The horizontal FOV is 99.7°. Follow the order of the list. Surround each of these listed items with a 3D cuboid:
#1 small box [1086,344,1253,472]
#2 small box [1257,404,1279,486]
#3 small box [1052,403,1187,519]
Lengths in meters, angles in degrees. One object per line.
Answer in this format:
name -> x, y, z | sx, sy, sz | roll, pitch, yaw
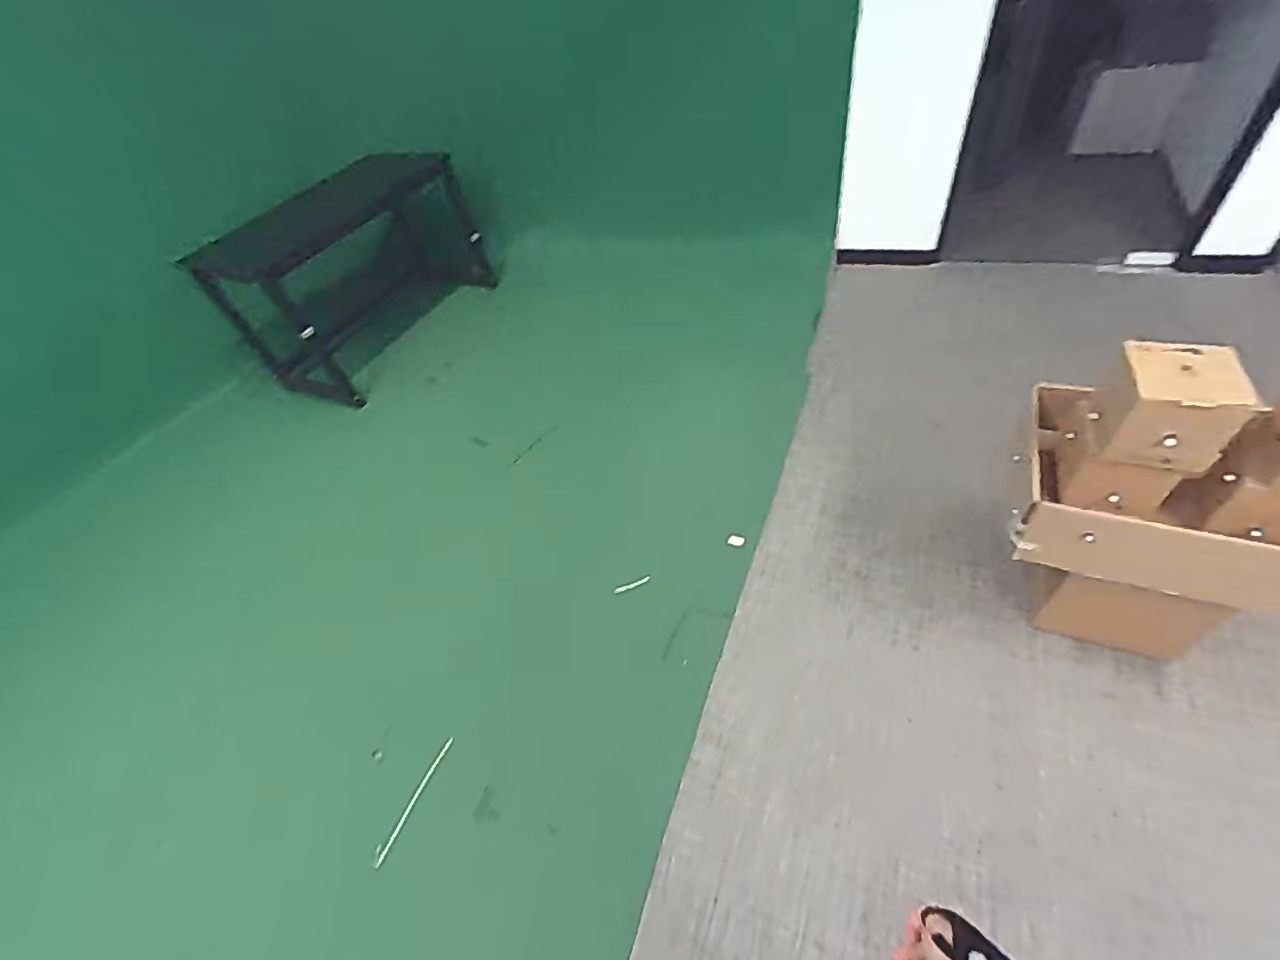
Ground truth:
small box -> 1.007, -0.138, 1.048 | 0.168, 0.176, 0.179 | 10, 52, 20
small box -> 1.242, -0.071, 0.940 | 0.168, 0.176, 0.179 | 18, 55, 25
small box -> 1.031, -0.043, 1.180 | 0.168, 0.176, 0.179 | 9, 52, 21
